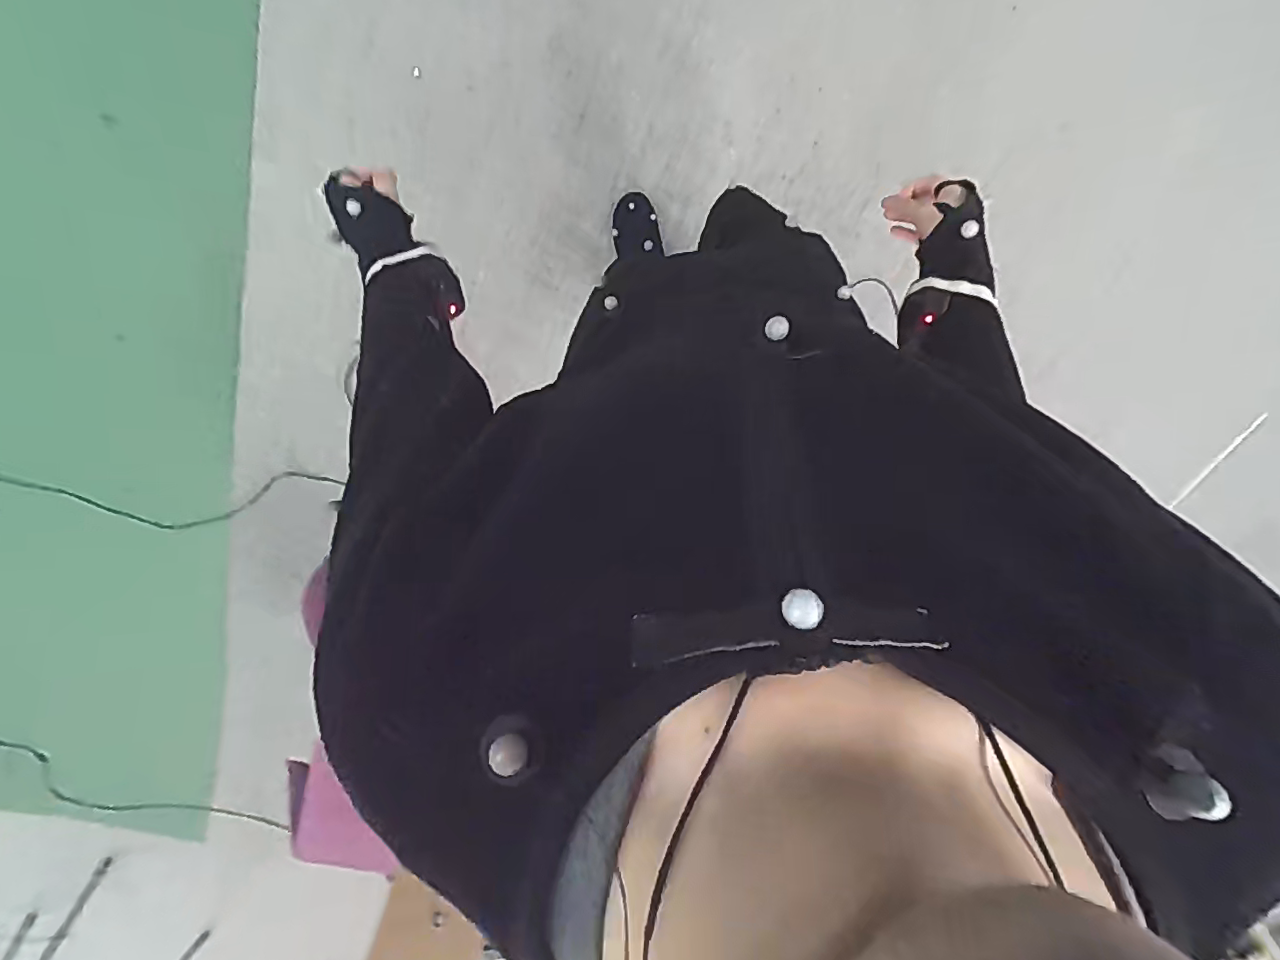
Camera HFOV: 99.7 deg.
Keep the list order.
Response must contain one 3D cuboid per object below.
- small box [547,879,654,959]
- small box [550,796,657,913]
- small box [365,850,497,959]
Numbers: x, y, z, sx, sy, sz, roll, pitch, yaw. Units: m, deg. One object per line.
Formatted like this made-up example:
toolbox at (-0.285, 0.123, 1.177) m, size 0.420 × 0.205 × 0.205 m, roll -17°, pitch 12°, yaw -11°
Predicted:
small box at (-0.079, 0.895, 1.023) m, size 0.168 × 0.176 × 0.179 m, roll 20°, pitch 118°, yaw -10°
small box at (-0.075, 0.817, 1.166) m, size 0.179 × 0.176 × 0.168 m, roll 21°, pitch 117°, yaw -11°
small box at (-0.369, 0.785, 0.948) m, size 0.179 × 0.176 × 0.168 m, roll 18°, pitch 118°, yaw -12°
